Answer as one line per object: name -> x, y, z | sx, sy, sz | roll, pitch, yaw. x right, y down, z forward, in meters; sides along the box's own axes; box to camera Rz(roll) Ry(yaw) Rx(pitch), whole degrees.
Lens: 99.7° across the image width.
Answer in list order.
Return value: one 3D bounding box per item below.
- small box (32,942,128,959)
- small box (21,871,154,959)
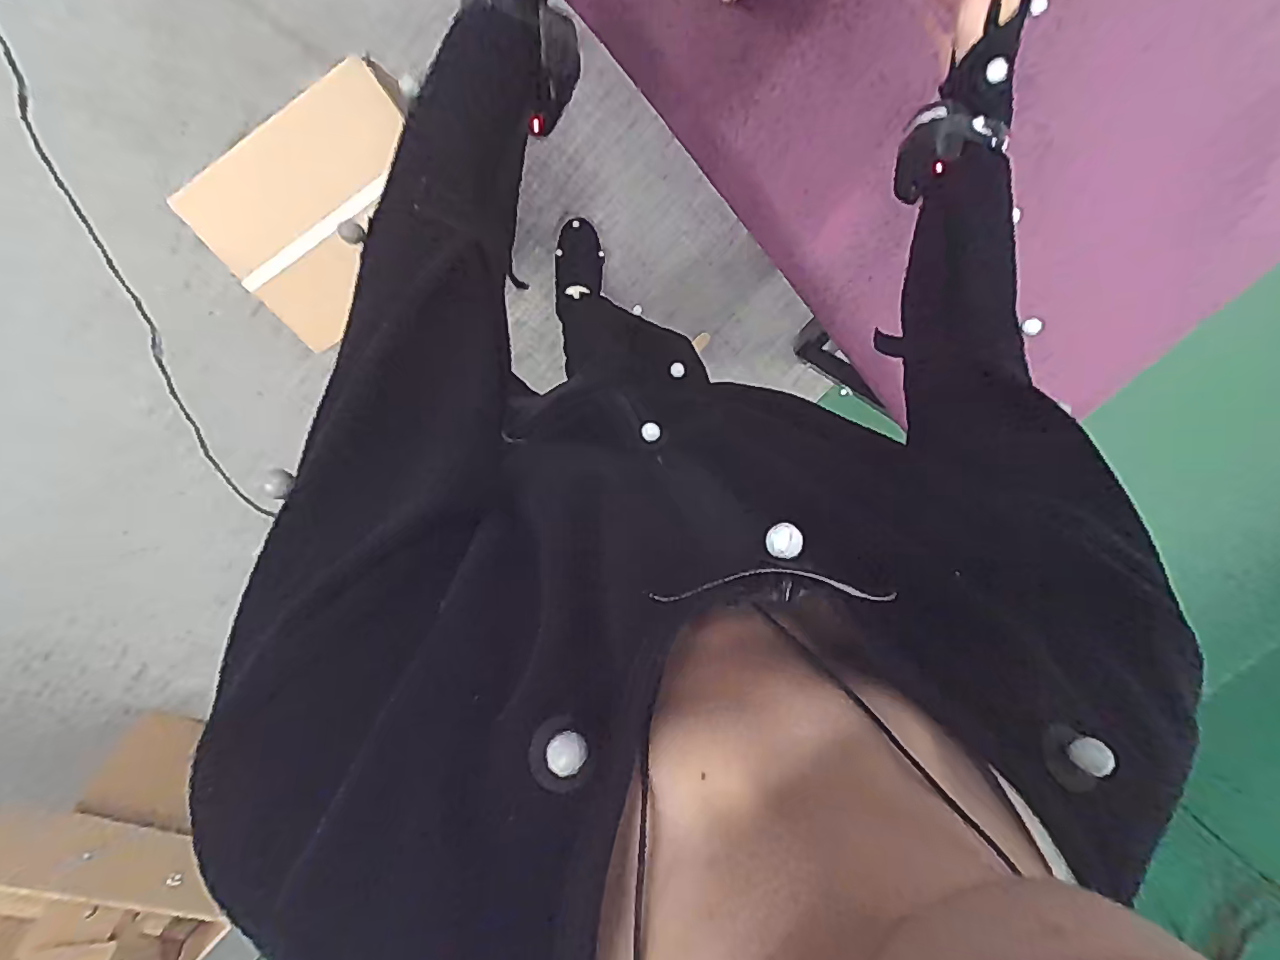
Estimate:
small box -> -1.330, 1.205, 1.239 | 0.179, 0.176, 0.168 | 7, 117, -17
small box -> -1.387, 1.131, 1.377 | 0.179, 0.176, 0.168 | 6, 115, -16
